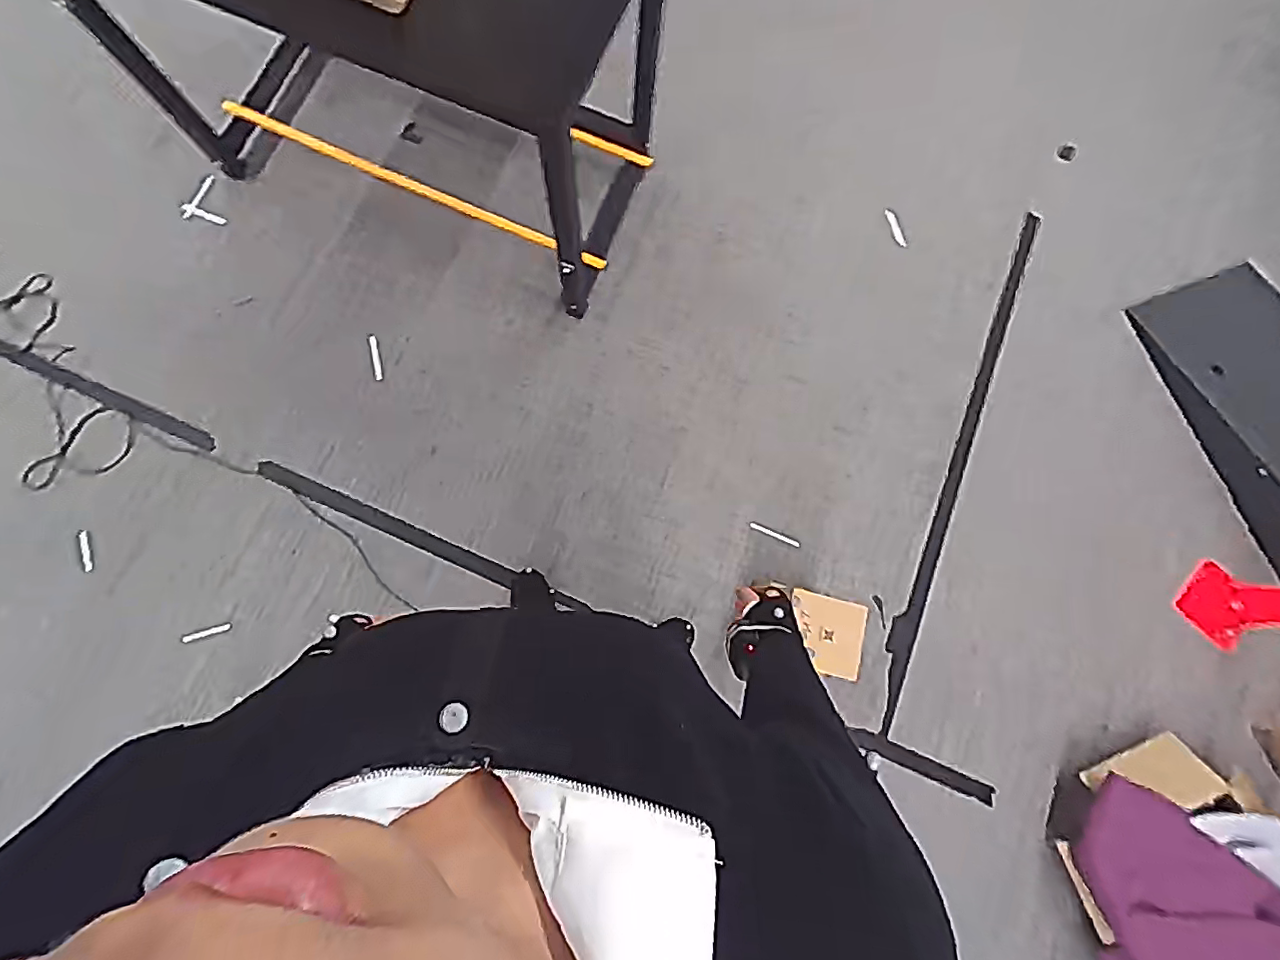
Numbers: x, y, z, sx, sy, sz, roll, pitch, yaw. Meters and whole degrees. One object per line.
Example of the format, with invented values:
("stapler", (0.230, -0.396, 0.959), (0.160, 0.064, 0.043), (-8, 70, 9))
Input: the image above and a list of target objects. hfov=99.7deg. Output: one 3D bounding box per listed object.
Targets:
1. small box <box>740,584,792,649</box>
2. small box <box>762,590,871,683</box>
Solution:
("small box", (0.385, 0.380, 1.427), (0.179, 0.176, 0.168), (20, 78, 2))
("small box", (0.405, 0.357, 1.264), (0.179, 0.176, 0.168), (15, 78, 0))
